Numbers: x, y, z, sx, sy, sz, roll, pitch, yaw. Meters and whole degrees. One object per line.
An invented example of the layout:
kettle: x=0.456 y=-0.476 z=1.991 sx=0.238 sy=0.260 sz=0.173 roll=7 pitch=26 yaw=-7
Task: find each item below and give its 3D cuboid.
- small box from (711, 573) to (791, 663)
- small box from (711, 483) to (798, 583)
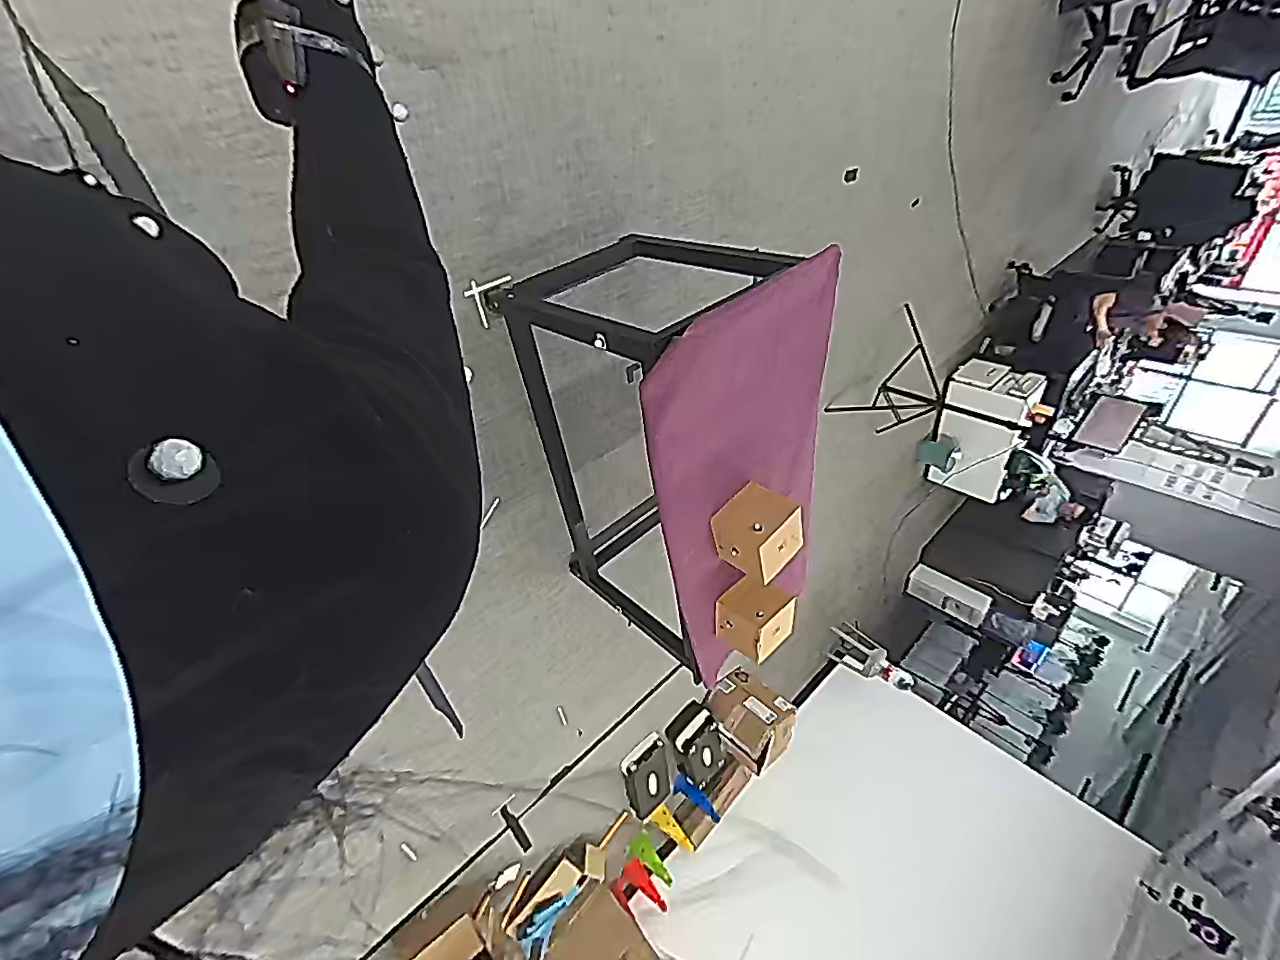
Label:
small box: x=0.341 y=0.419 z=1.676 sx=0.179 sy=0.176 sz=0.168 roll=-31 pitch=132 yaw=-32
small box: x=0.308 y=0.140 z=1.475 sx=0.179 sy=0.176 sz=0.168 roll=-41 pitch=137 yaw=-23
